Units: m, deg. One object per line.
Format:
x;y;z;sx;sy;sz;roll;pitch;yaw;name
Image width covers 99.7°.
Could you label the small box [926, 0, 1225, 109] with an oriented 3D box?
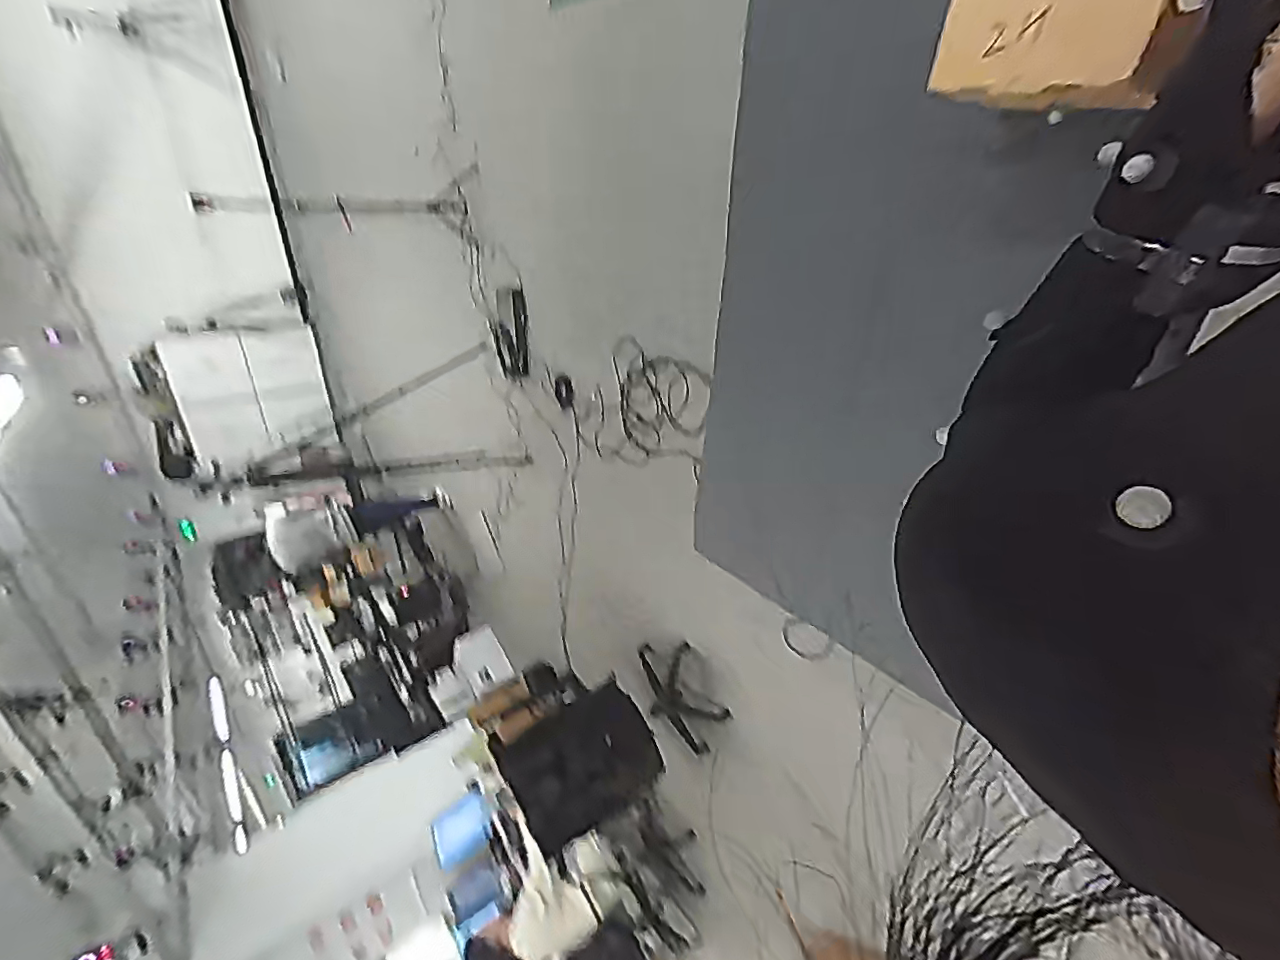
0.393;-0.437;0.469;0.168;0.176;0.179;36;134;41;small box
